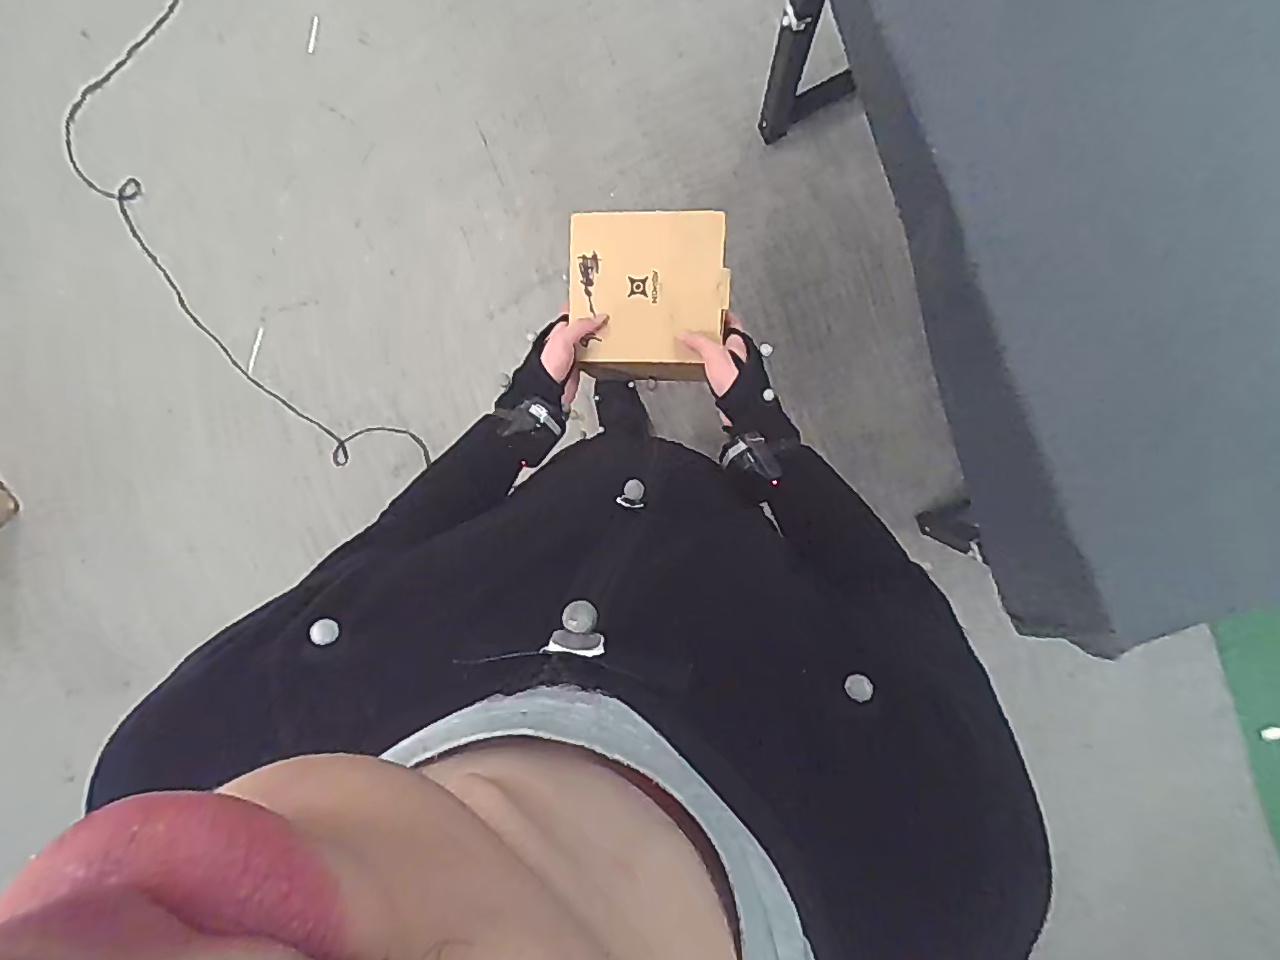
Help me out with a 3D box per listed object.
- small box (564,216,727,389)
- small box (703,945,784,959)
[{"bbox_3d":[0.011,-0.209,0.674,0.179,0.176,0.168,2,92,5],"label":"small box"},{"bbox_3d":[0.200,0.974,0.951,0.179,0.176,0.168,-23,93,10],"label":"small box"}]
